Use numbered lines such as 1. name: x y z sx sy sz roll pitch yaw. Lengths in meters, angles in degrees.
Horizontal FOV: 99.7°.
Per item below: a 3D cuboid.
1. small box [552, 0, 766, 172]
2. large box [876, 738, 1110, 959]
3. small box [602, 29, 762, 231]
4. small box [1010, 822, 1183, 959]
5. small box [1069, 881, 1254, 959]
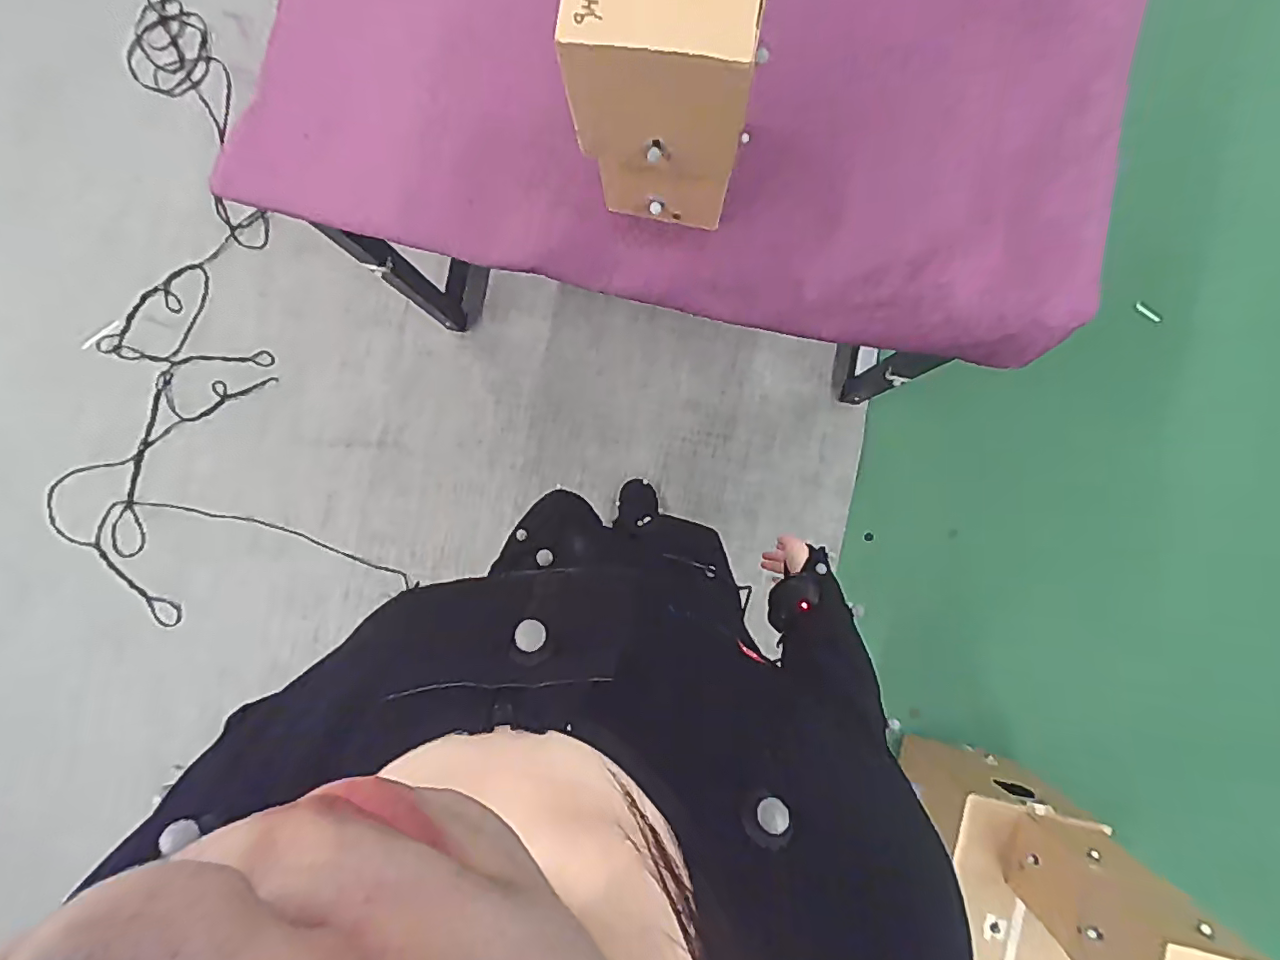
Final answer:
1. small box: 0.026 -0.438 0.536 0.179 0.176 0.168 9 89 2
2. large box: 0.811 0.906 1.294 0.320 0.320 0.408 13 90 3
3. small box: 0.045 -0.459 0.699 0.168 0.176 0.179 12 89 3
4. small box: 0.875 0.807 1.051 0.179 0.176 0.168 13 90 2
5. small box: 0.866 0.806 0.886 0.179 0.176 0.168 12 89 2
